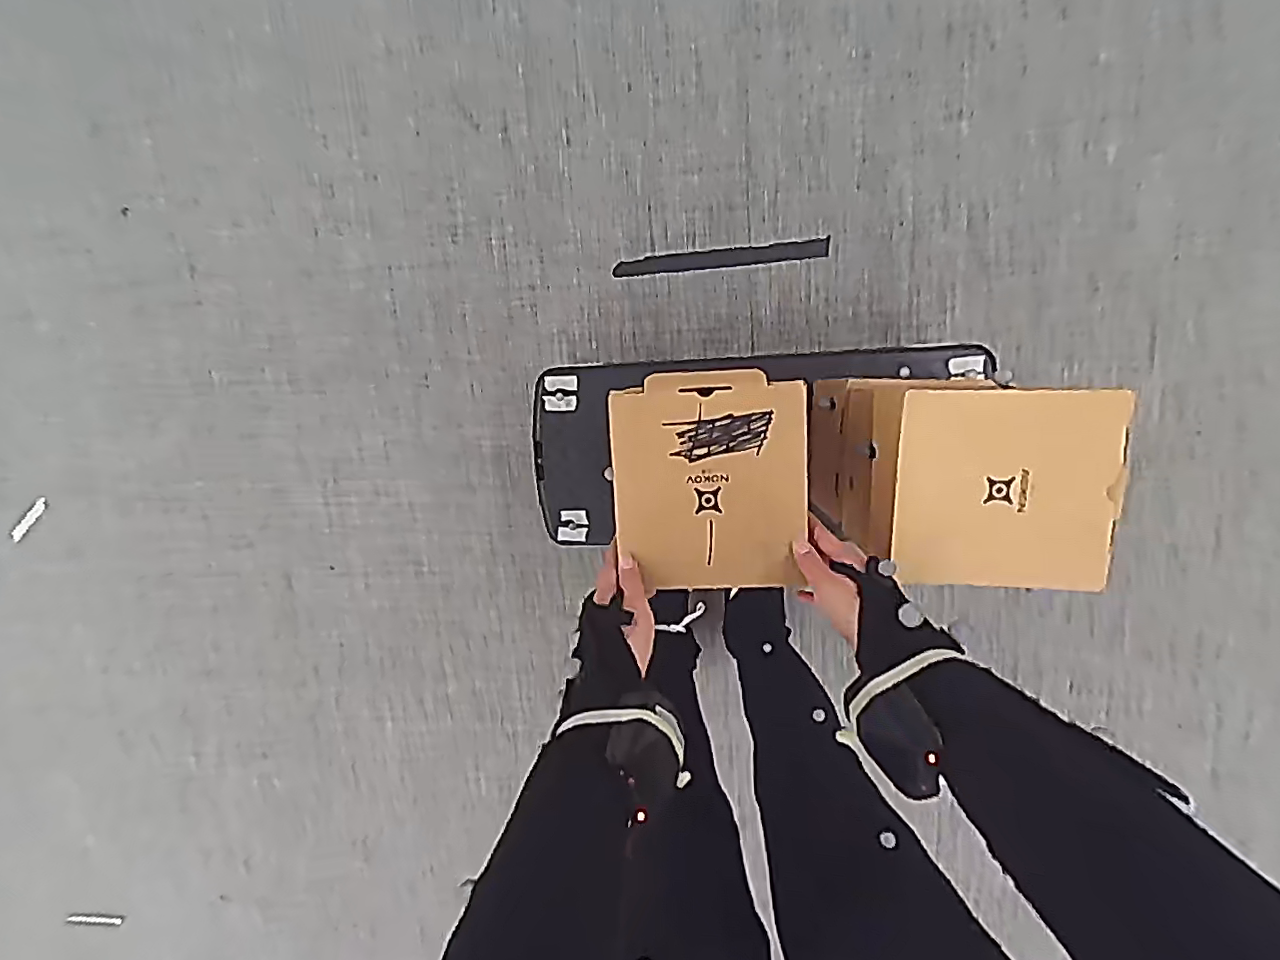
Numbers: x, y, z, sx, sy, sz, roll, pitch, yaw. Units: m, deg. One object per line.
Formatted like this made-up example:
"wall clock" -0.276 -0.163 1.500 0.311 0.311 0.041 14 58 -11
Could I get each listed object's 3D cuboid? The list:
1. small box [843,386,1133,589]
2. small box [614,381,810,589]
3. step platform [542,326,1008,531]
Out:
"small box" 0.306 -0.005 0.520 0.179 0.176 0.168 1 100 6
"small box" 0.067 -0.001 0.540 0.168 0.176 0.179 -2 97 6
"step platform" 0.190 -0.076 0.863 0.684 0.204 0.286 -2 99 7
